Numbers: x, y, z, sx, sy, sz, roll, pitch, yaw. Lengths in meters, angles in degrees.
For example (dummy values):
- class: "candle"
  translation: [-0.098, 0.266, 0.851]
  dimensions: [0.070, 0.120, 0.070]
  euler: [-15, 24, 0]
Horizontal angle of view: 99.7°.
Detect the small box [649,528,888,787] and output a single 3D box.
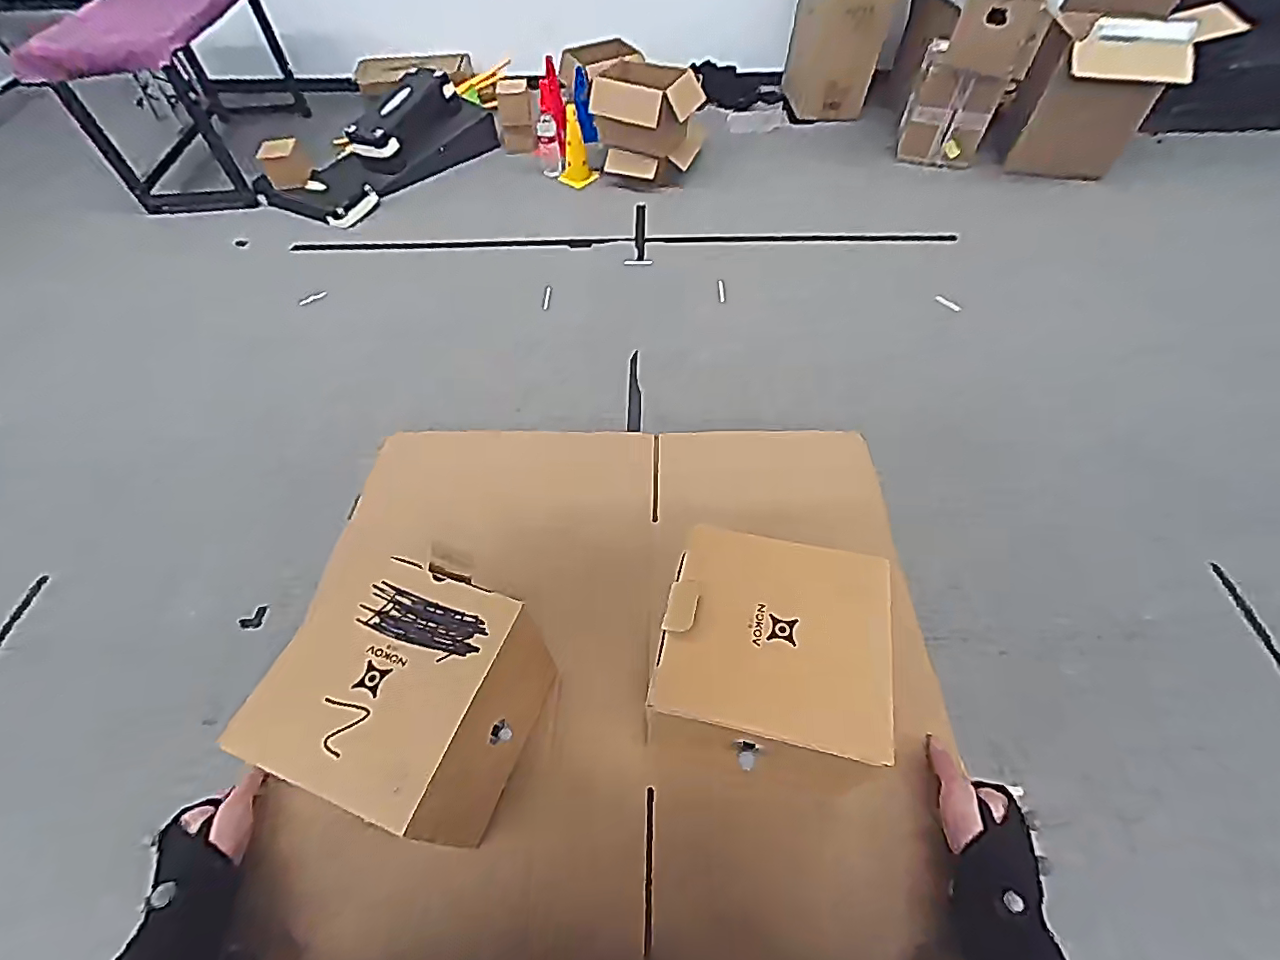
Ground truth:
- class: "small box"
  translation: [0.116, 0.170, 0.505]
  dimensions: [0.179, 0.176, 0.168]
  euler: [9, 54, 12]
